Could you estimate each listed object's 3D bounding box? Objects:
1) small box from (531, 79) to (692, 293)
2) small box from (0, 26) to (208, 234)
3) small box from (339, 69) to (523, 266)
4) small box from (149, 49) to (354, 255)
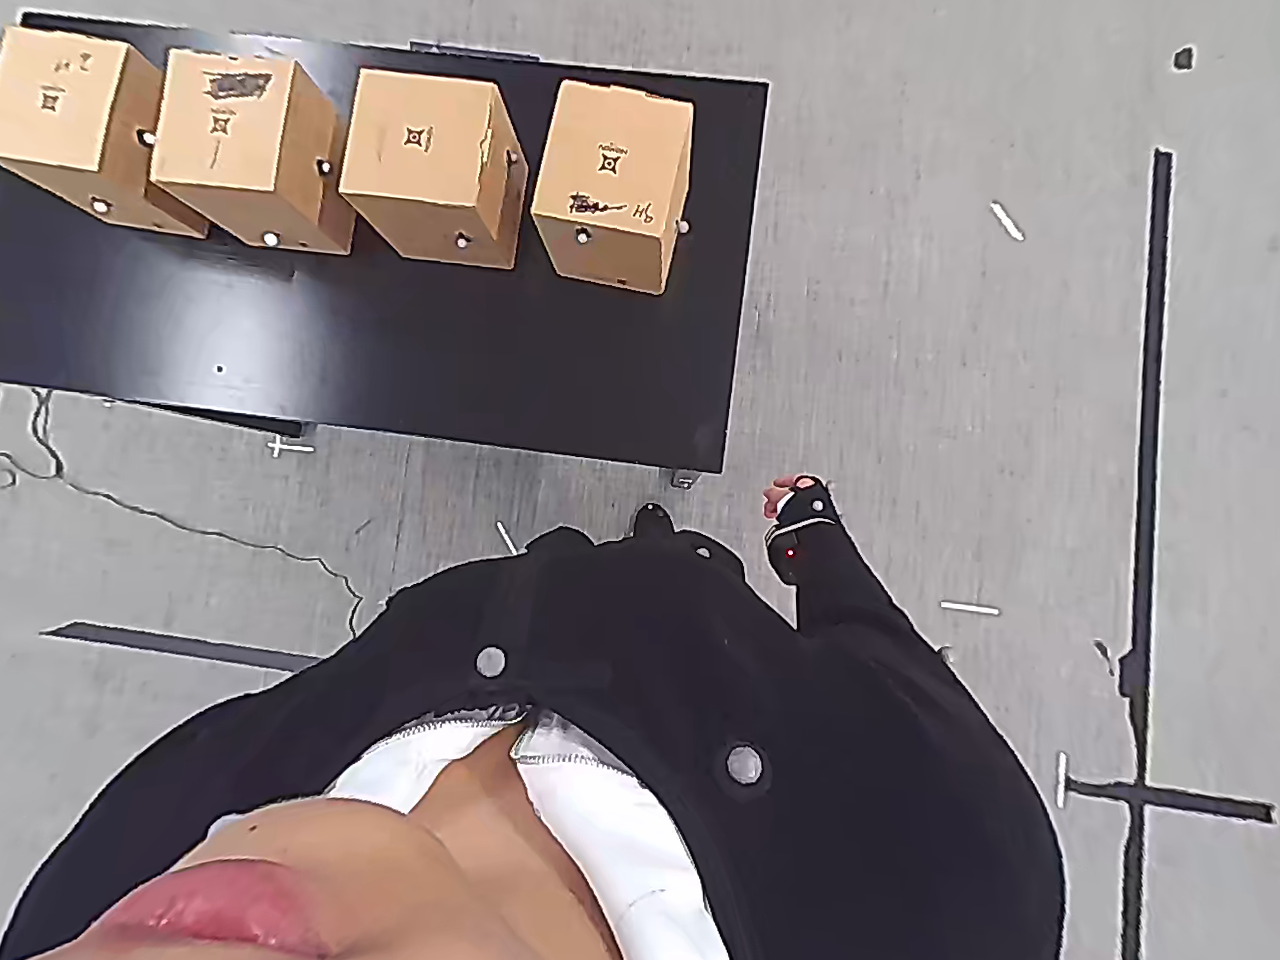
[{"bbox_3d":[-0.033,-0.384,0.732,0.168,0.176,0.179,13,86,3],"label":"small box"},{"bbox_3d":[-0.740,-0.478,0.765,0.168,0.176,0.179,10,86,2],"label":"small box"},{"bbox_3d":[-0.272,-0.415,0.746,0.179,0.176,0.168,7,85,3],"label":"small box"},{"bbox_3d":[-0.518,-0.444,0.754,0.168,0.176,0.179,6,88,2],"label":"small box"}]
